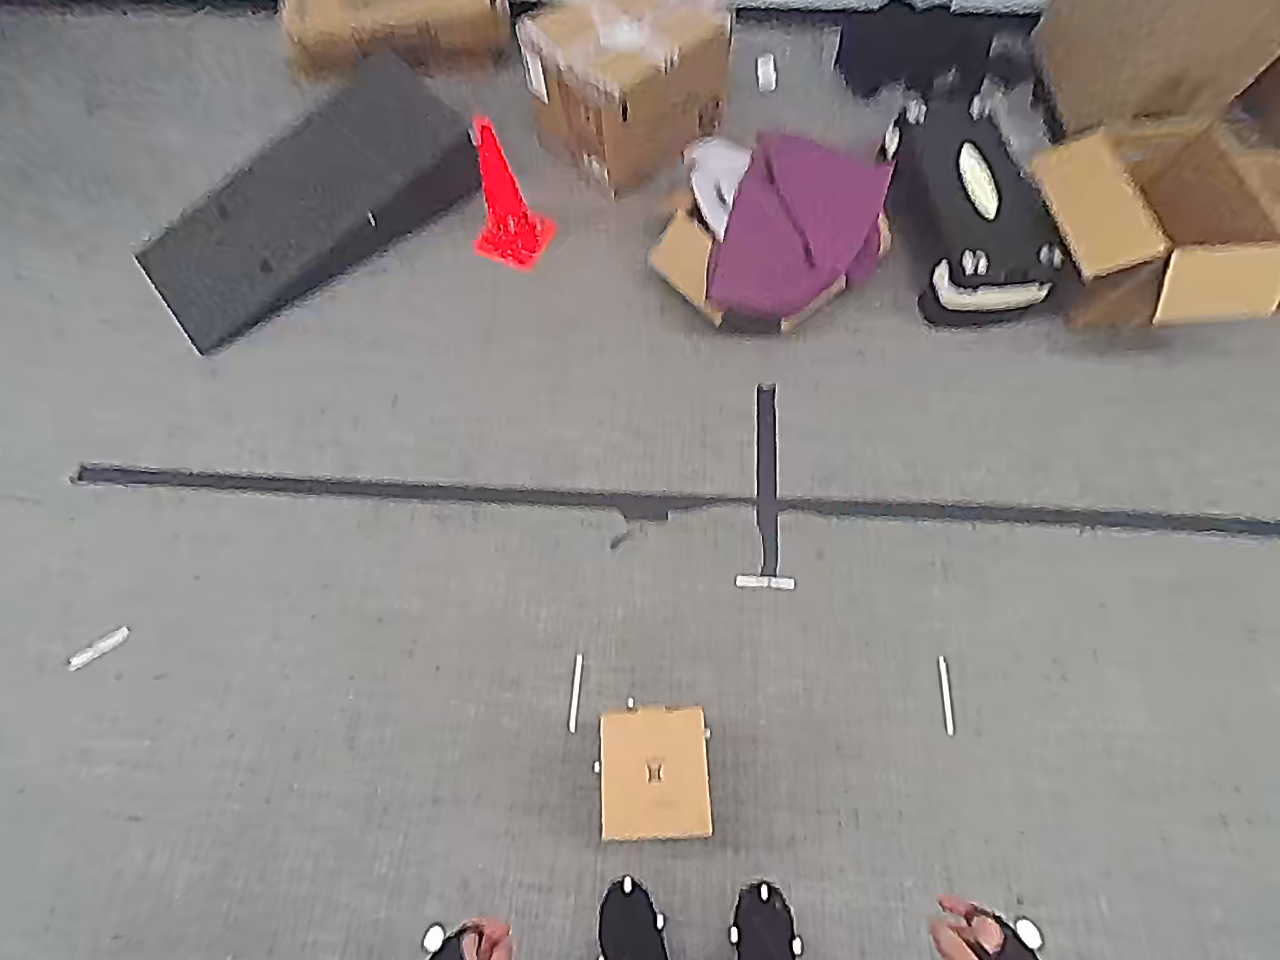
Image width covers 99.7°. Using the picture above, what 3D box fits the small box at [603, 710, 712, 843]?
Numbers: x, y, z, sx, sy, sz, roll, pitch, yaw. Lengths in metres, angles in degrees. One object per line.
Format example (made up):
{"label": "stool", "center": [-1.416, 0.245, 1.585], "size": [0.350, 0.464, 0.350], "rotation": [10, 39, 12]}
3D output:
{"label": "small box", "center": [0.025, 0.483, 0.907], "size": [0.168, 0.176, 0.179], "rotation": [-3, 69, 1]}
